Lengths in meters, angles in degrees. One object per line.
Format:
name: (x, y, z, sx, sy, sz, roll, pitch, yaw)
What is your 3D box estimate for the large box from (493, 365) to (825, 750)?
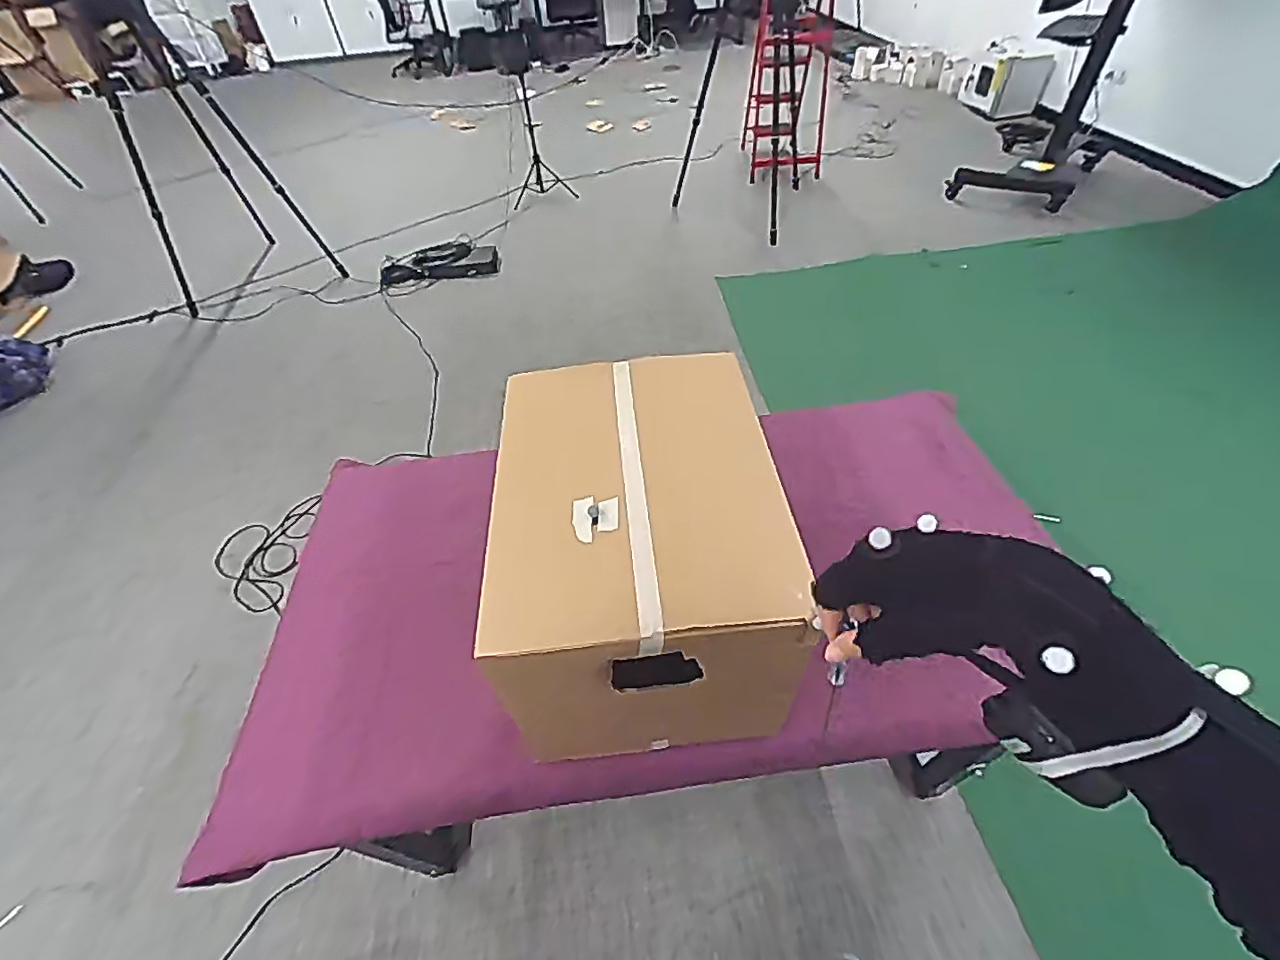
large box: (0.005, 0.097, 0.731, 0.320, 0.320, 0.408, -6, 49, -1)
